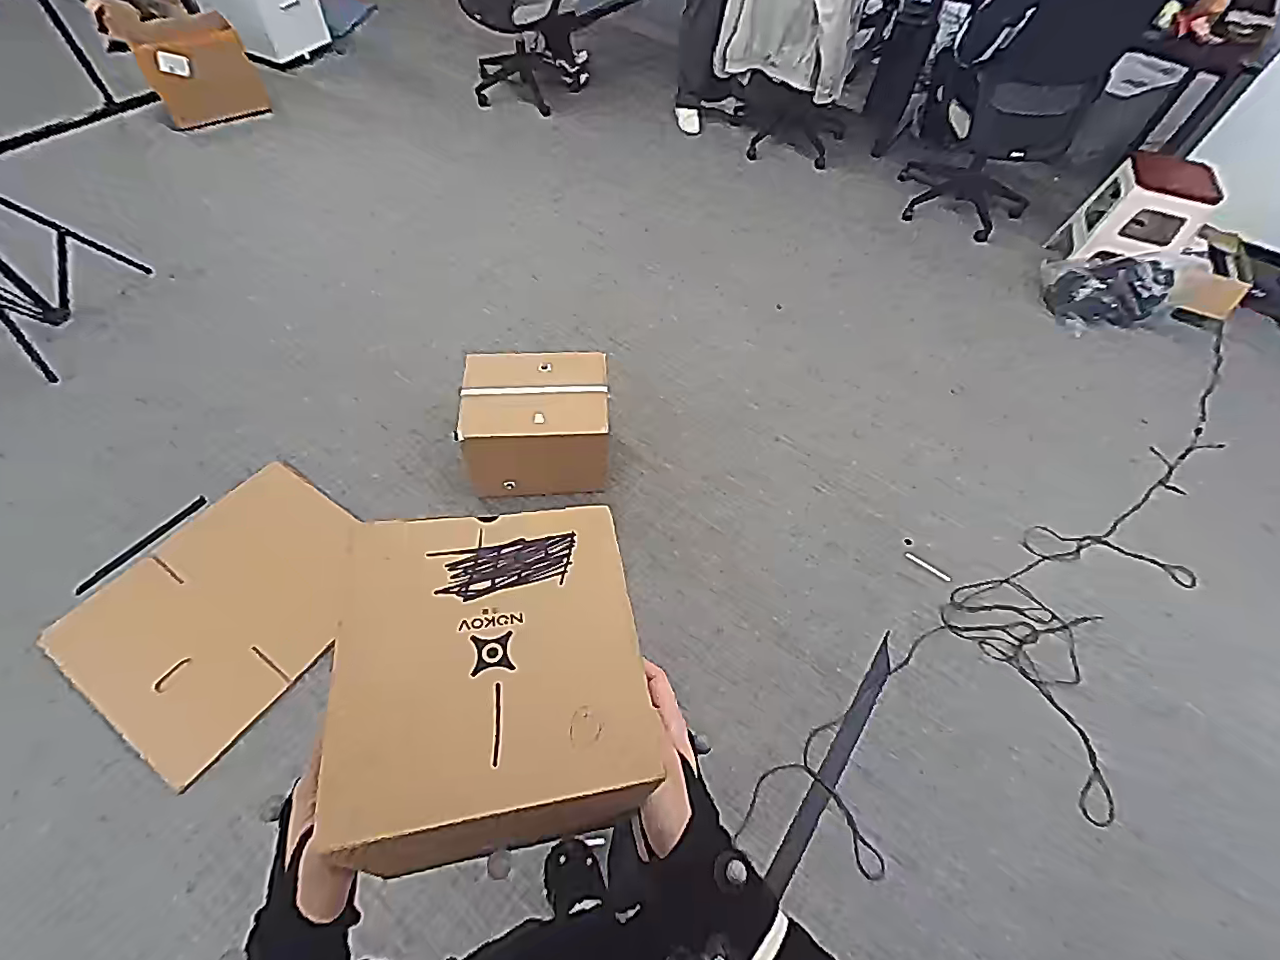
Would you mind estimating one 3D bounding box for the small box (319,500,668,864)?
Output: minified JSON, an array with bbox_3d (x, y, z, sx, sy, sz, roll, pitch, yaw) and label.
[{"bbox_3d":[-0.093,0.135,0.369,0.168,0.176,0.179,-4,52,-14],"label":"small box"}]
